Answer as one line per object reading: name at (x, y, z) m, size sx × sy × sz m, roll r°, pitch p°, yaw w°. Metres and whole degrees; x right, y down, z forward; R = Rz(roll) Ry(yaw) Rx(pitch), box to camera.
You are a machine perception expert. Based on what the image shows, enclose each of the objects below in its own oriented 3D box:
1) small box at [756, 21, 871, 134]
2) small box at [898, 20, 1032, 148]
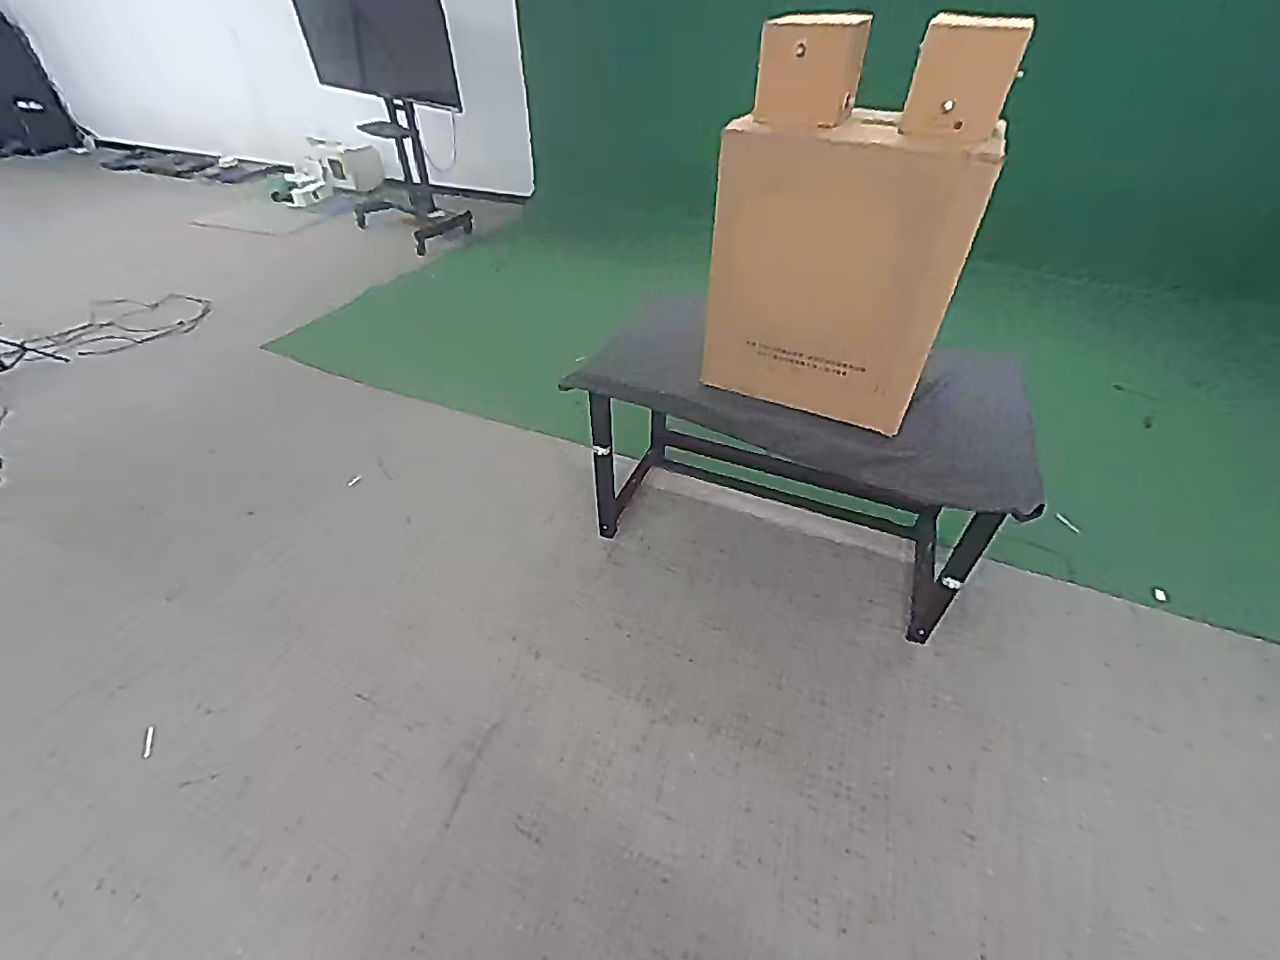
small box at (0.354, -0.838, 1.125) m, size 0.179 × 0.176 × 0.168 m, roll 21°, pitch 49°, yaw 19°
small box at (0.616, -0.760, 1.036) m, size 0.168 × 0.176 × 0.179 m, roll 21°, pitch 48°, yaw 19°
